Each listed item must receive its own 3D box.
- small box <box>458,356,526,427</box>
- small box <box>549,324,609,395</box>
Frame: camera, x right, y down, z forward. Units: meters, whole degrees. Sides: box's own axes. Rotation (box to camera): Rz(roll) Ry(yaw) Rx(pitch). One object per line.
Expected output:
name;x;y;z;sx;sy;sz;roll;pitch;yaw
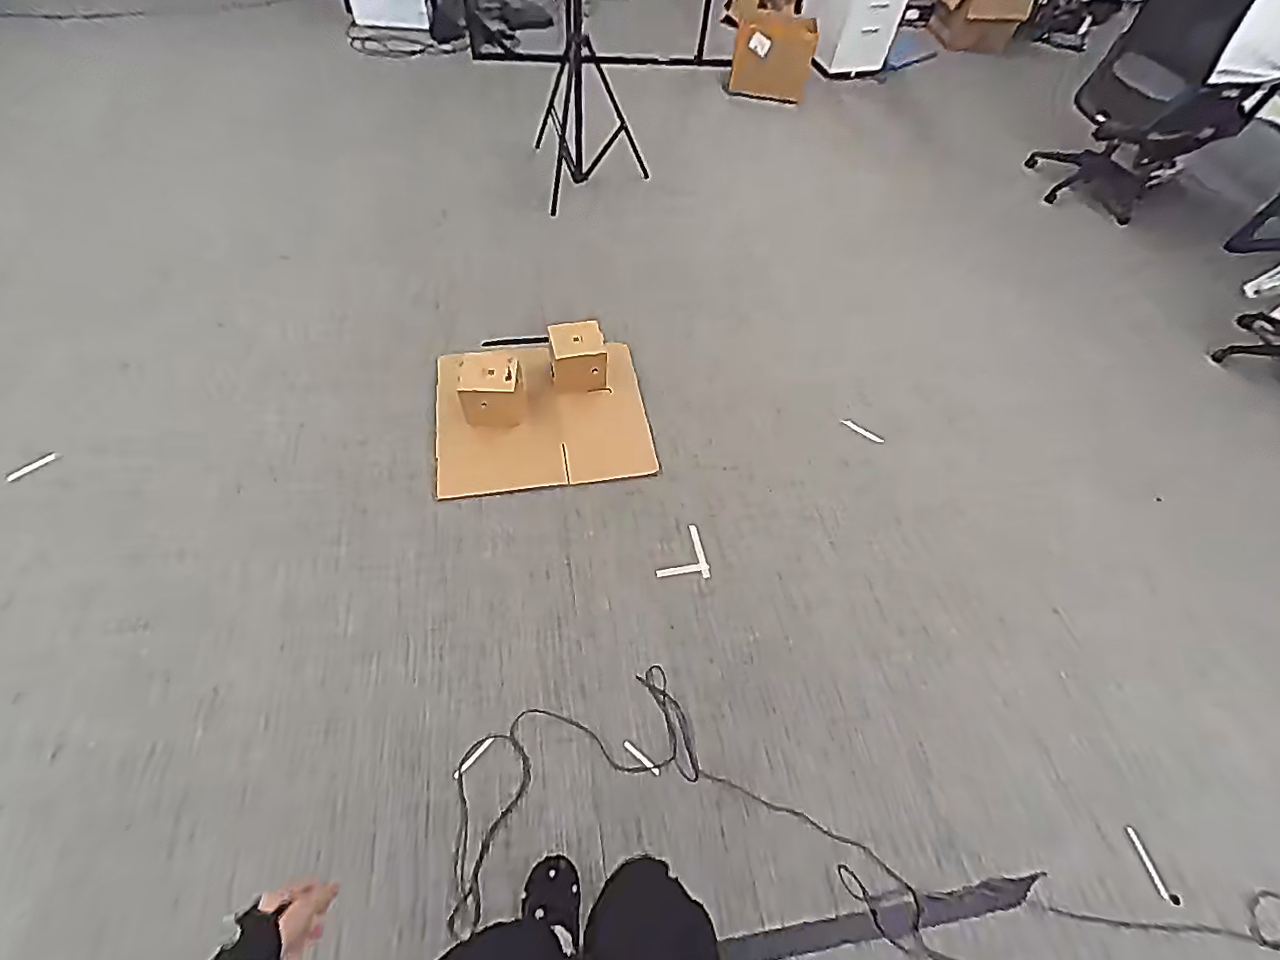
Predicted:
small box;-0.478;-0.286;1.771;0.179;0.176;0.168;0;58;-3
small box;-0.214;-0.418;1.885;0.179;0.176;0.168;-11;58;-12
